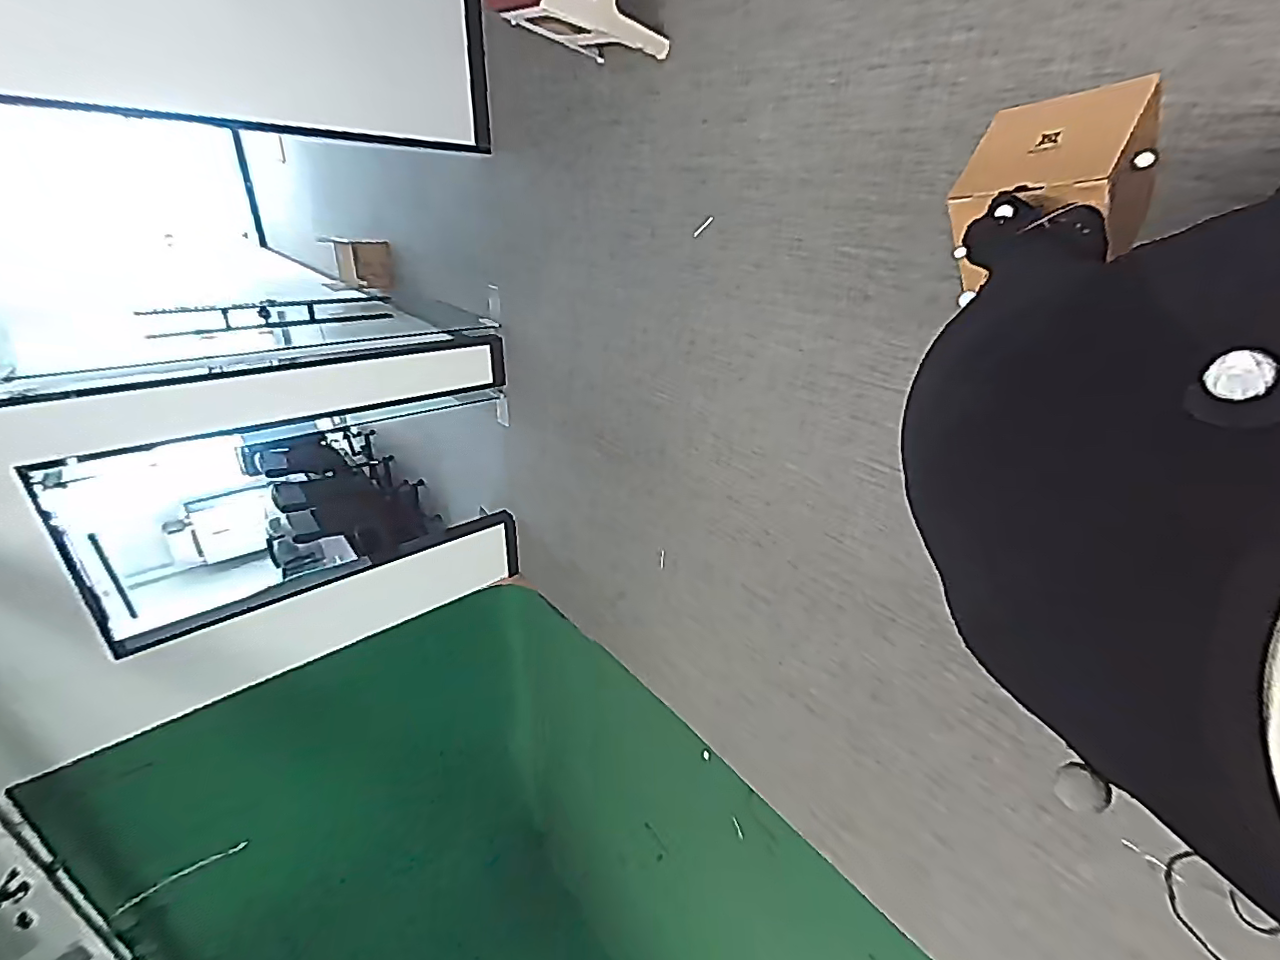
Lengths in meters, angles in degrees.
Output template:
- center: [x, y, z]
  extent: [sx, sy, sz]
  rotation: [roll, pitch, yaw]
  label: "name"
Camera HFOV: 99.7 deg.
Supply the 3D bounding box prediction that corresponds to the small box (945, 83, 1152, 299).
- center: [0.534, -0.365, 0.714]
  extent: [0.168, 0.179, 0.176]
  rotation: [20, 161, 47]
  label: "small box"
